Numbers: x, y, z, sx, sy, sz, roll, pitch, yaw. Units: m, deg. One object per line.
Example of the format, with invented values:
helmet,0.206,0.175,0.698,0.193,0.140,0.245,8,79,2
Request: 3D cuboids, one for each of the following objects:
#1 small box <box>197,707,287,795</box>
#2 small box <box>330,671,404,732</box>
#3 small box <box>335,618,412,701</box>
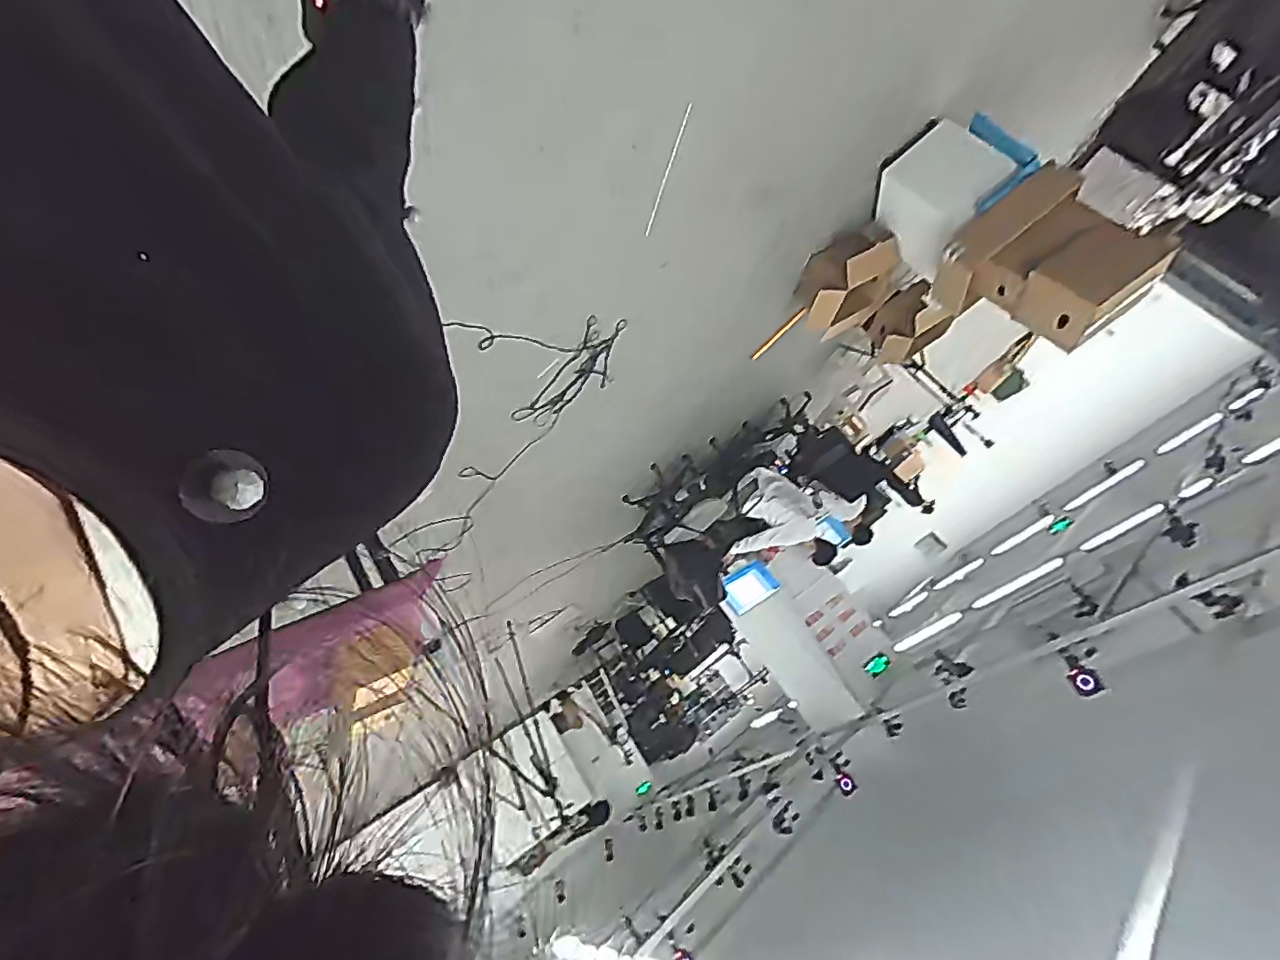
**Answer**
small box,-1.257,0.853,1.711,0.179,0.176,0.168,-23,154,-36
small box,-0.988,0.764,1.950,0.179,0.176,0.168,-12,147,-46
small box,-0.858,0.567,1.734,0.168,0.176,0.179,-16,152,-43
